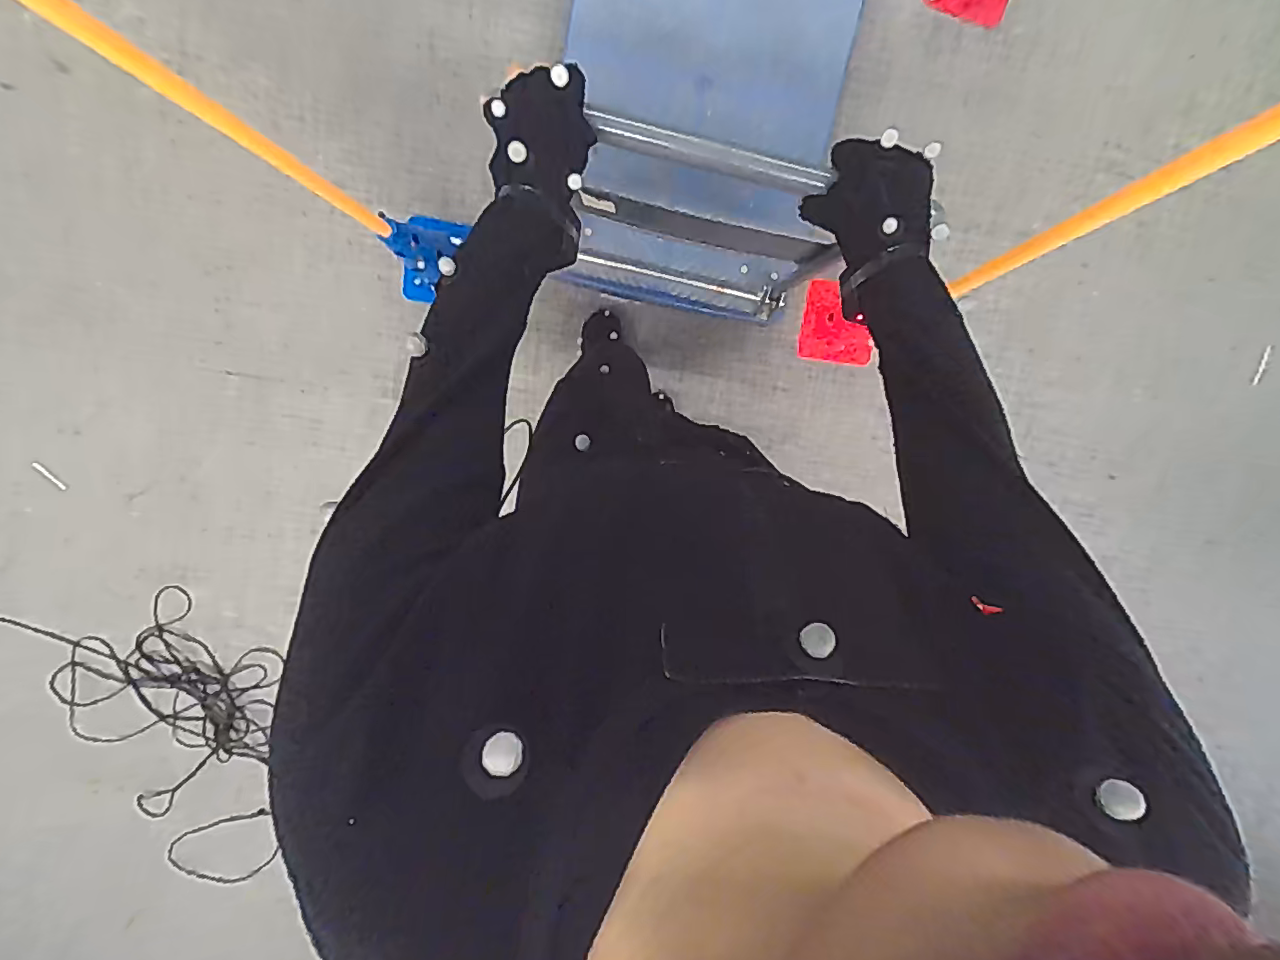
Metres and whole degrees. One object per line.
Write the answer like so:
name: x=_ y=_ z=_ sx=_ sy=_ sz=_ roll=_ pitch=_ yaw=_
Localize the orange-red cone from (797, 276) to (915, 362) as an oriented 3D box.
orange-red cone: x=0.522 y=-0.384 z=1.241 sx=0.199 sy=0.360 sz=0.198 roll=9 pitch=101 yaw=-2
